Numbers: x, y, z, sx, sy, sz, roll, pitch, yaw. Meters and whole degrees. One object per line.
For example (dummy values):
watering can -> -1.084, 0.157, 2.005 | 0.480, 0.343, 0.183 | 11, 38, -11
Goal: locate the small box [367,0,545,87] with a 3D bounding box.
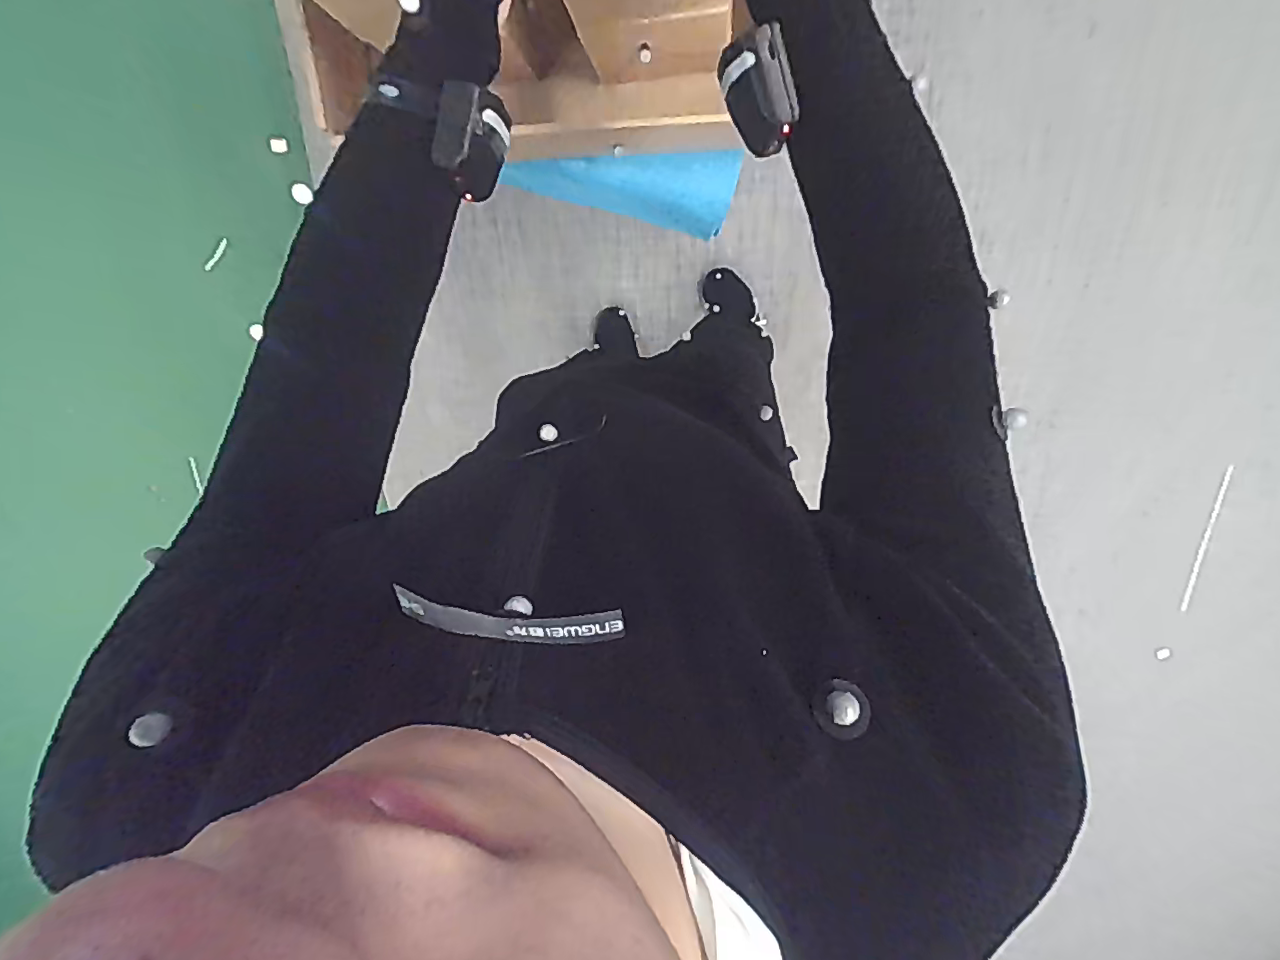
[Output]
small box -> -0.232, -0.631, 0.692 | 0.179, 0.176, 0.168 | -1, 109, 5

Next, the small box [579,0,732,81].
small box -> 0.023, -0.621, 0.663 | 0.179, 0.176, 0.168 | -2, 109, 9

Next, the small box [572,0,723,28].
small box -> 0.000, -0.570, 0.510 | 0.179, 0.176, 0.168 | -3, 109, 9
